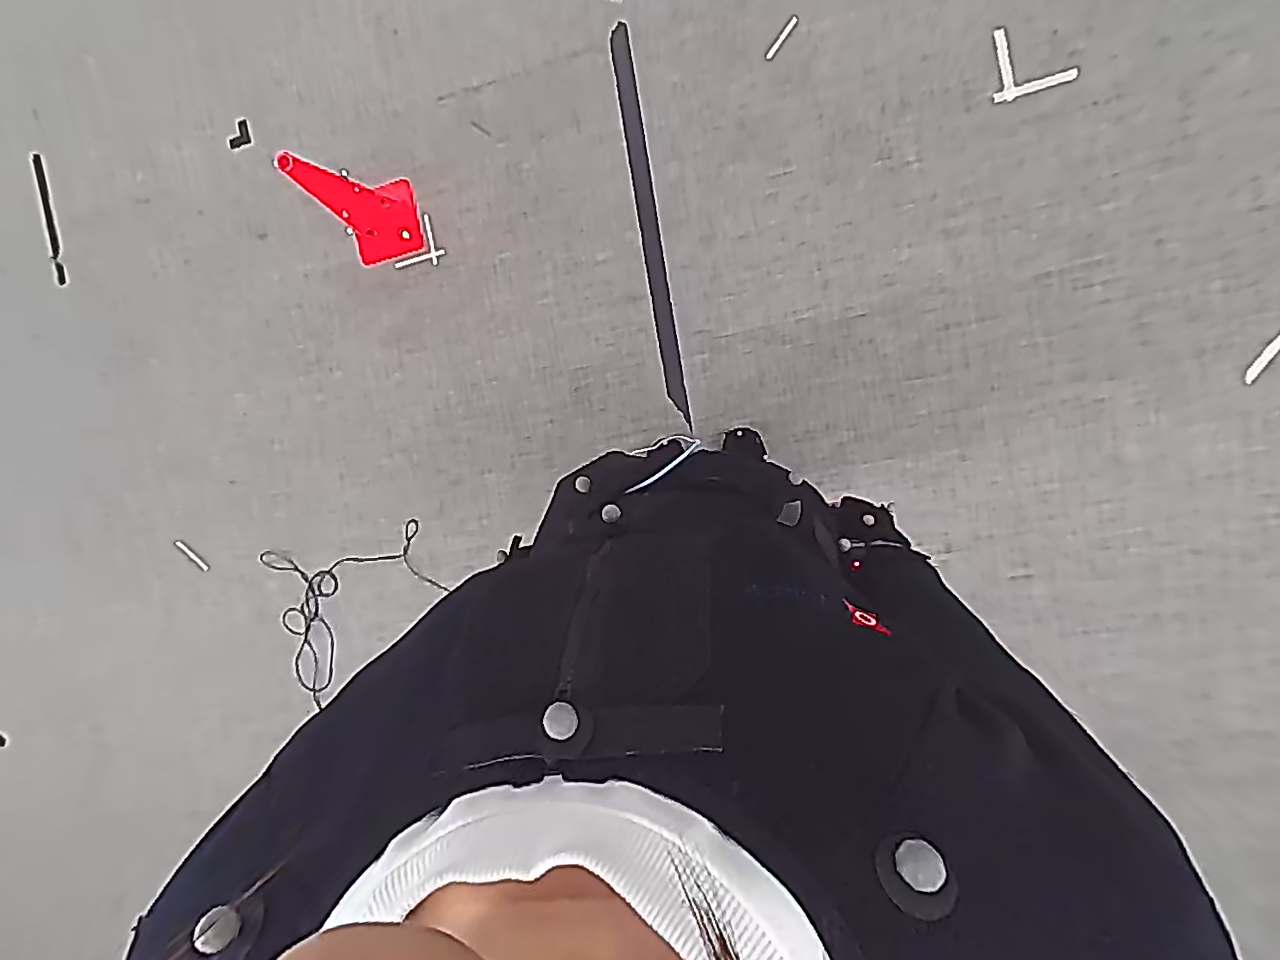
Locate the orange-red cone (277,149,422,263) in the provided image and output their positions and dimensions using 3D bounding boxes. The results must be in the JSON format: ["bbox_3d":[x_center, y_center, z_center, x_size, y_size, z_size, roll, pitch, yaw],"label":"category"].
[{"bbox_3d":[-0.733,-0.703,1.328,0.198,0.360,0.199,-10,92,10],"label":"orange-red cone"}]
